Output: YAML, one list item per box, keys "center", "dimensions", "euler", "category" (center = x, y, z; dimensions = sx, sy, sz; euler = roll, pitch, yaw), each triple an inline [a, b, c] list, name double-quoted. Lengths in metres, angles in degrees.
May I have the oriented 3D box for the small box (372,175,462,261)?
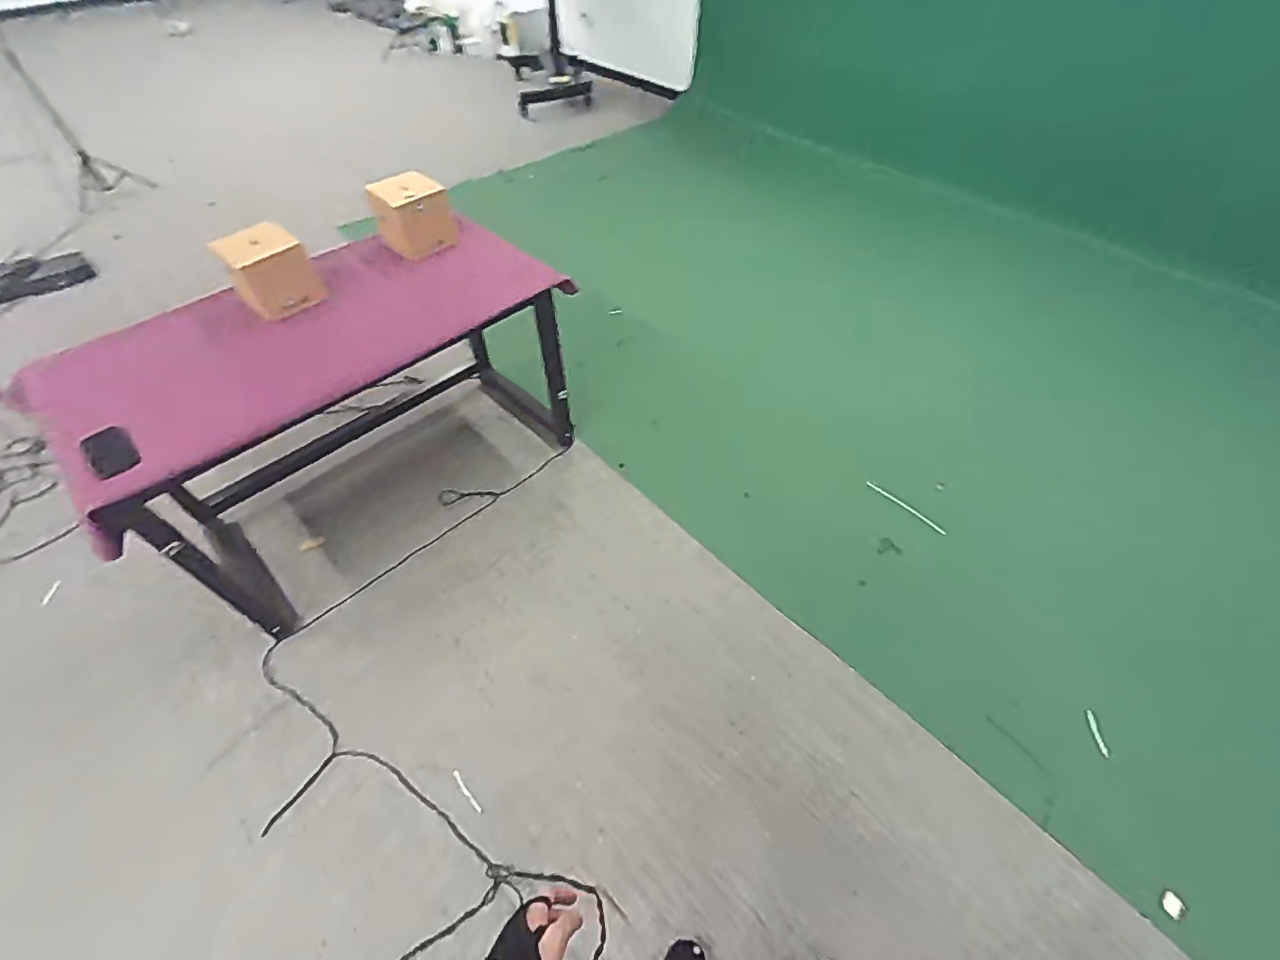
- center: [-0.675, -0.795, 1.648]
  dimensions: [0.179, 0.176, 0.168]
  euler: [37, 61, 26]
  category: "small box"

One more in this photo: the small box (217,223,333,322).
- center: [-0.974, -0.556, 1.455]
  dimensions: [0.179, 0.176, 0.168]
  euler: [36, 60, 24]
  category: "small box"
